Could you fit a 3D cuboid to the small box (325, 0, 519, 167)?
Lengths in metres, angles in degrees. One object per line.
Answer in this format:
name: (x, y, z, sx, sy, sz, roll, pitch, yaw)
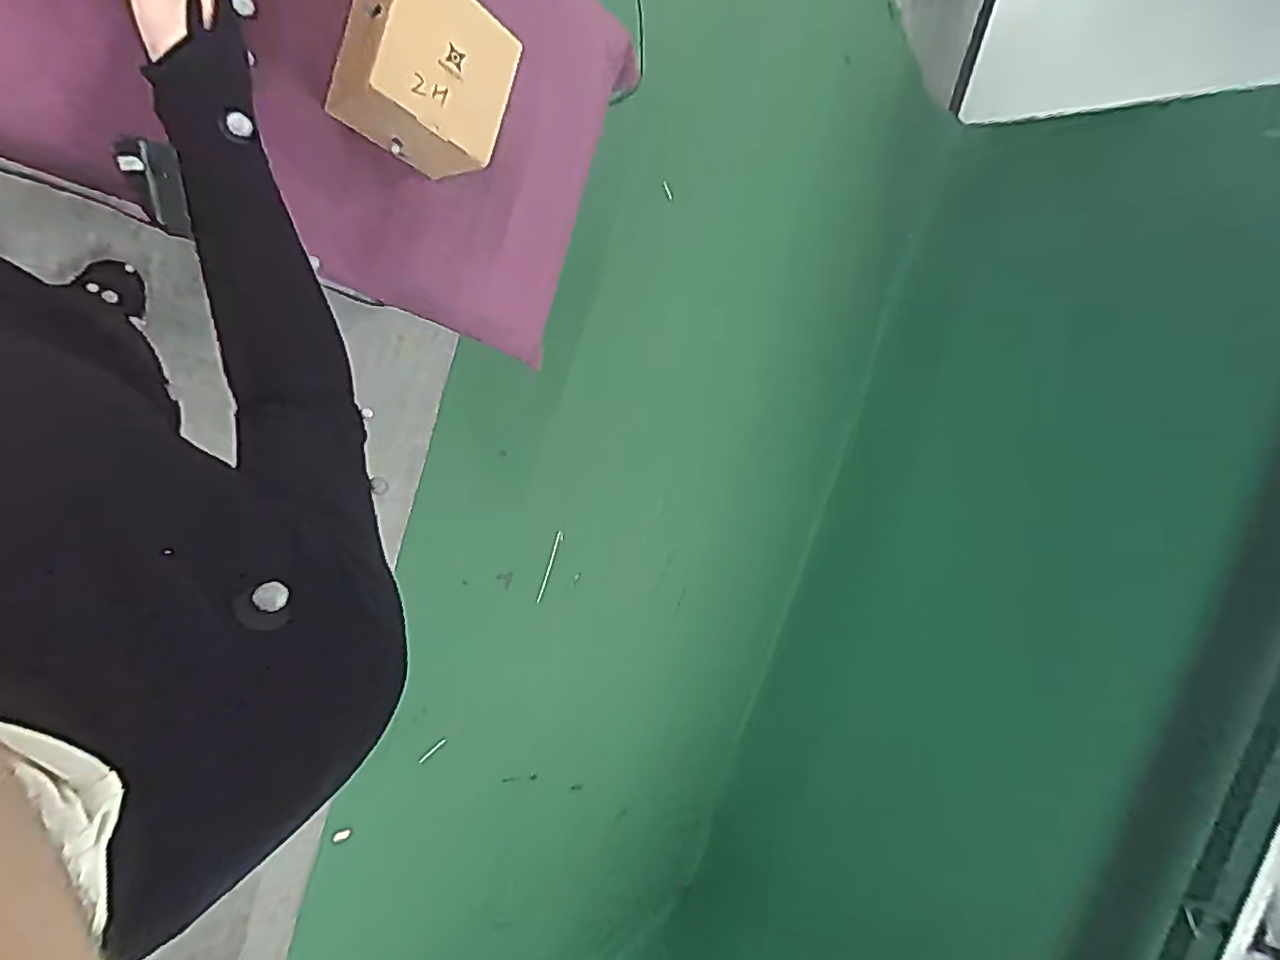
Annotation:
small box: (-0.299, -0.562, 0.735, 0.168, 0.176, 0.179, 14, 96, -49)
